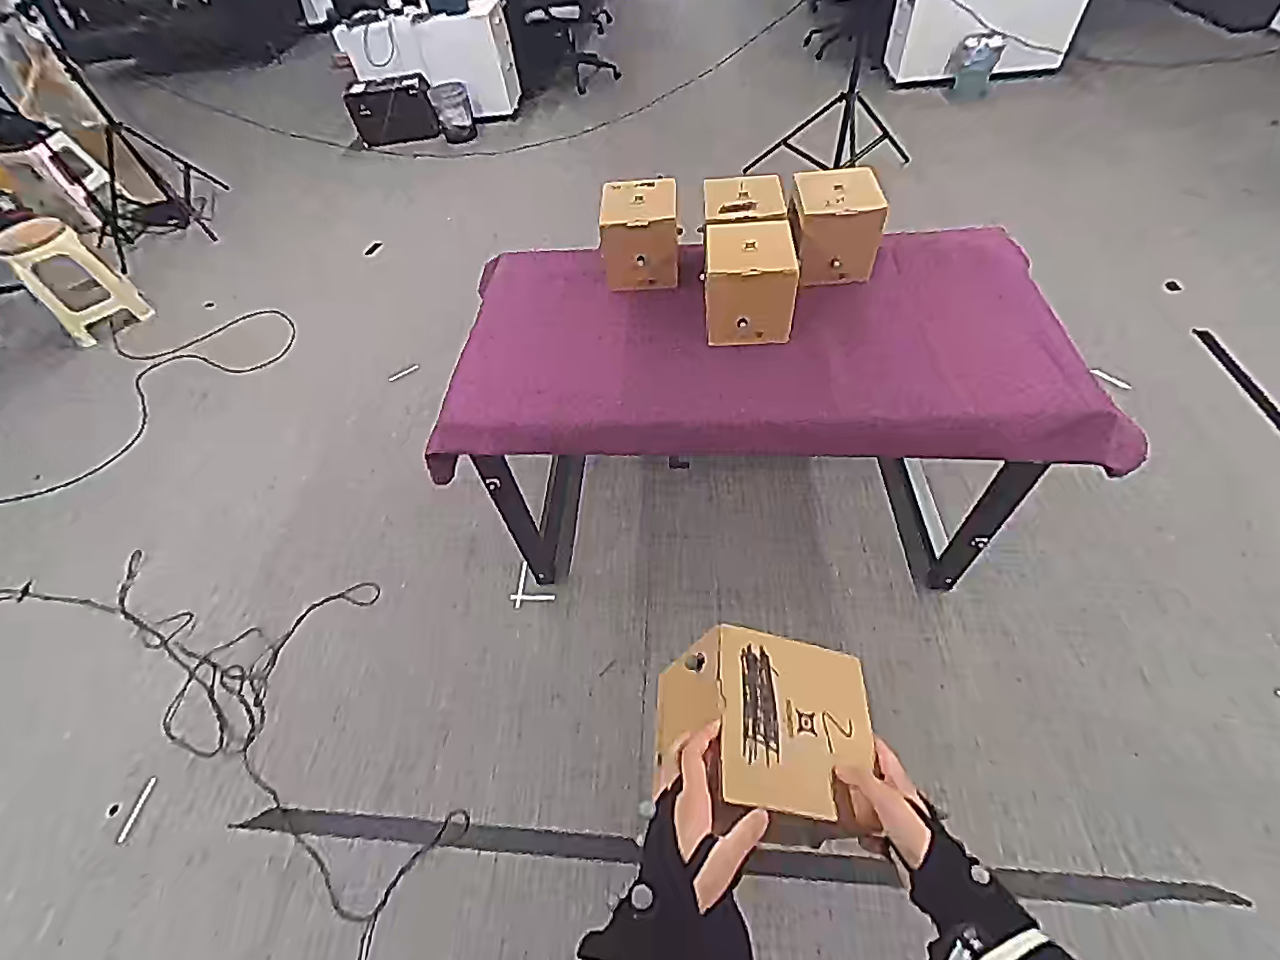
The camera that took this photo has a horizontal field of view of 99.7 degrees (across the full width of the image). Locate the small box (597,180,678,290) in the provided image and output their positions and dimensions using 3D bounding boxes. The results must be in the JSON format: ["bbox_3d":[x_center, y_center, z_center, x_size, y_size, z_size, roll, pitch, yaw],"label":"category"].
[{"bbox_3d":[0.001,-0.553,1.239,0.168,0.176,0.179,-2,56,5],"label":"small box"}]
